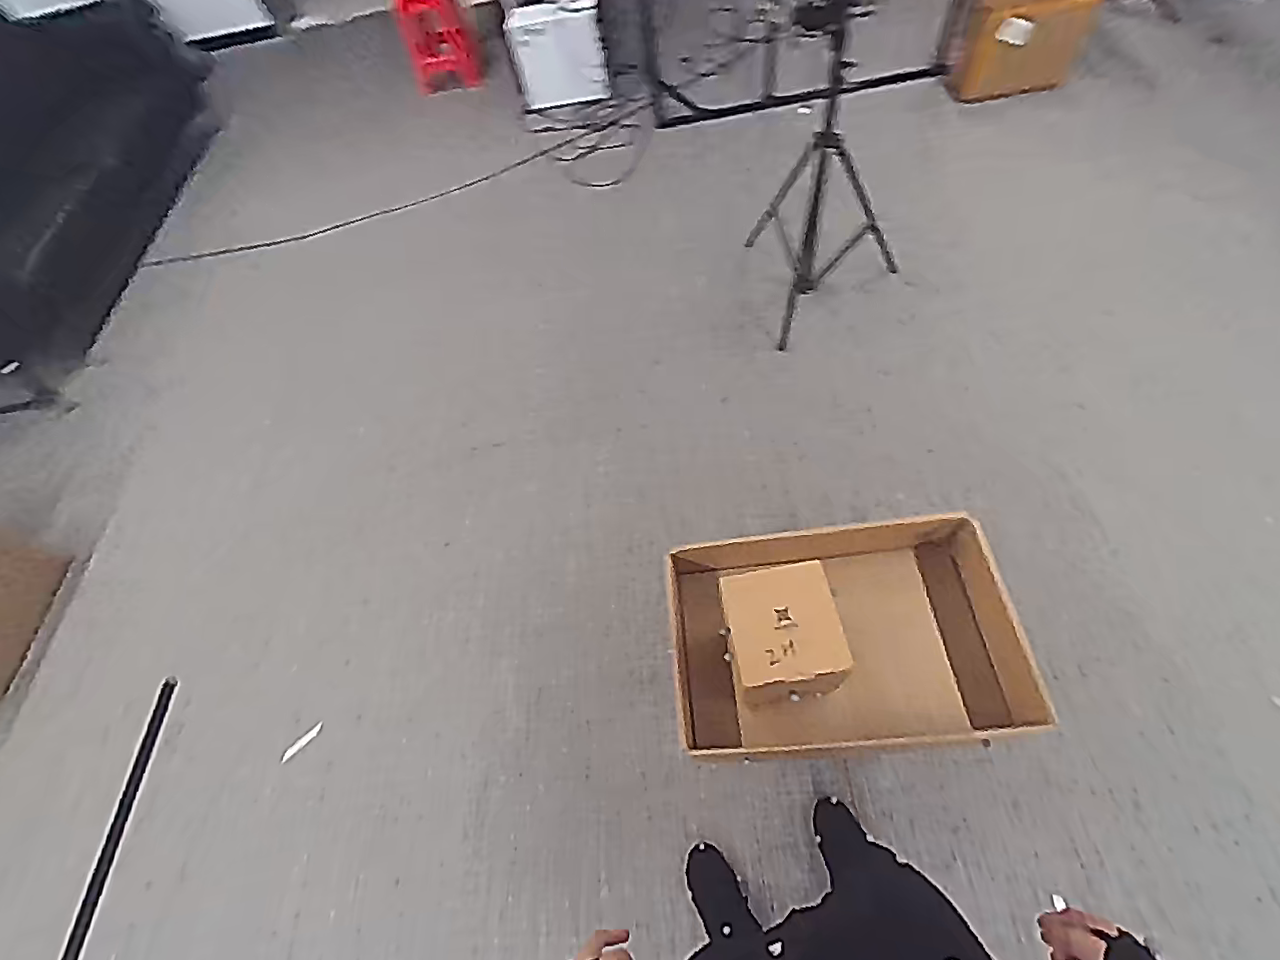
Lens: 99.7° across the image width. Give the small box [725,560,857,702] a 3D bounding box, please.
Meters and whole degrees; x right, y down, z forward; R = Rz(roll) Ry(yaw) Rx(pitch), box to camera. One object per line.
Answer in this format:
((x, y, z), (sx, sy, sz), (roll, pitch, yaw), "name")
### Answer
((0.238, 0.256, 0.901), (0.168, 0.176, 0.179), (-11, 59, 4), "small box")
